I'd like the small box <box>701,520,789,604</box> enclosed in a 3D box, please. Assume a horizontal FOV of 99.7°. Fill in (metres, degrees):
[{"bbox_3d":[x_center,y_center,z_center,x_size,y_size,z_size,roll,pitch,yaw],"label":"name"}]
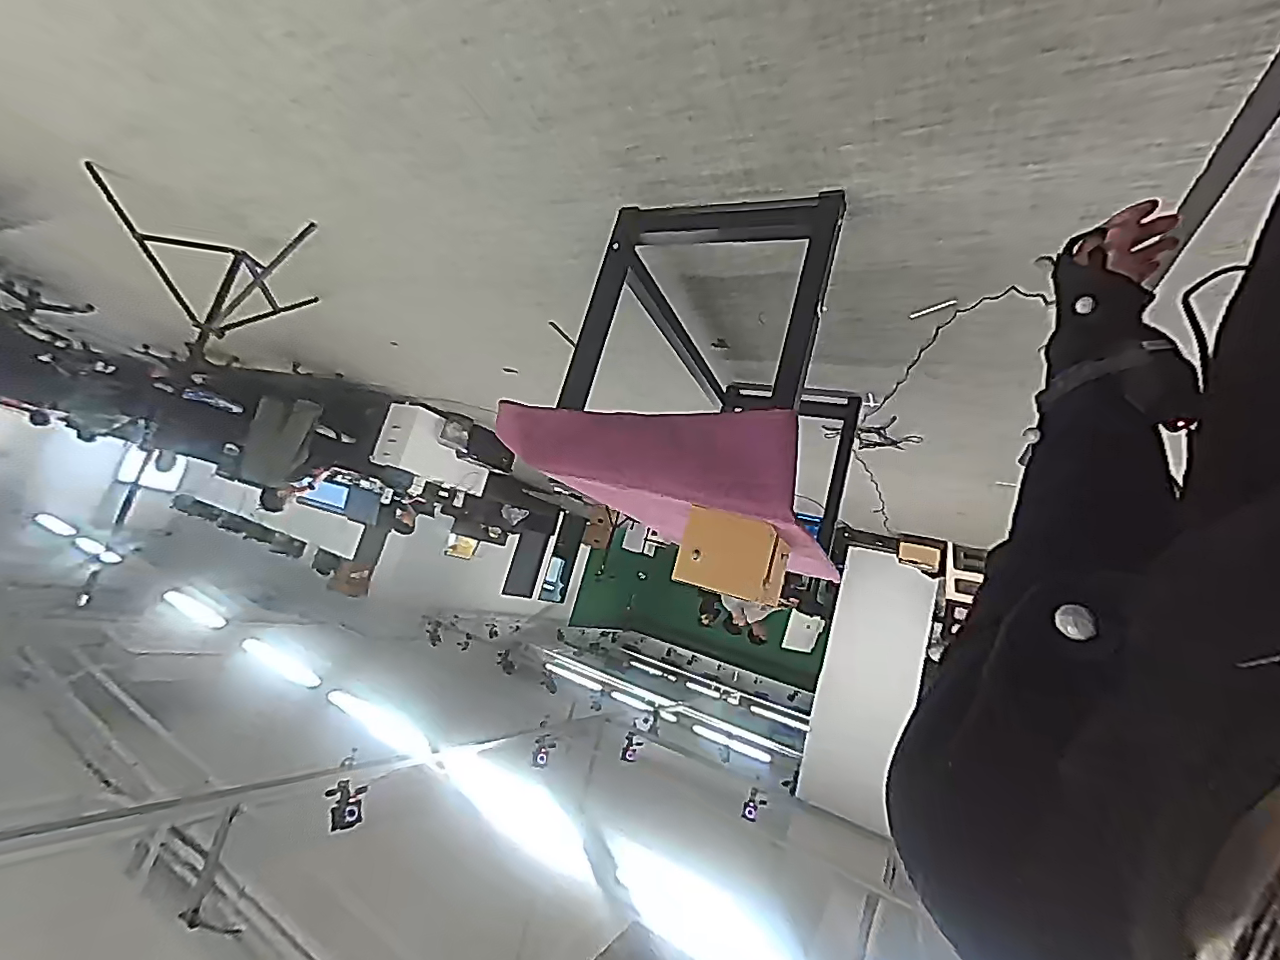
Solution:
[{"bbox_3d":[0.273,0.208,1.381,0.168,0.176,0.179,10,169,27],"label":"small box"}]
